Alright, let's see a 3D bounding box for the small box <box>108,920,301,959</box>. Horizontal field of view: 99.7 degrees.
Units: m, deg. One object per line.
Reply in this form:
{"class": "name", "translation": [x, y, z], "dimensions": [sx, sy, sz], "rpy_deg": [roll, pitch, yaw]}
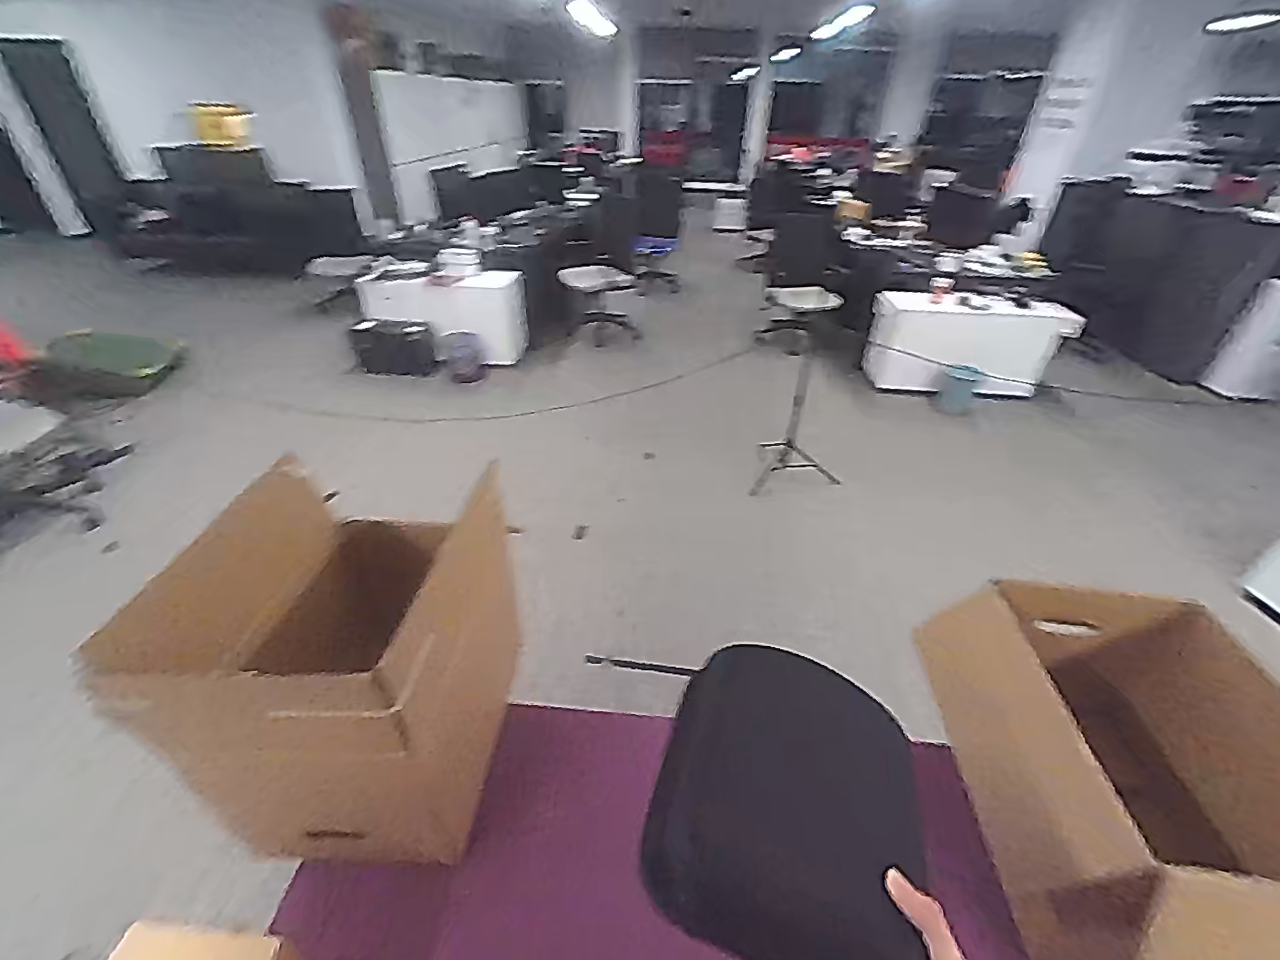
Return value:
{"class": "small box", "translation": [-0.489, 0.610, 0.578], "dimensions": [0.179, 0.176, 0.168], "rpy_deg": [5, 35, 2]}
